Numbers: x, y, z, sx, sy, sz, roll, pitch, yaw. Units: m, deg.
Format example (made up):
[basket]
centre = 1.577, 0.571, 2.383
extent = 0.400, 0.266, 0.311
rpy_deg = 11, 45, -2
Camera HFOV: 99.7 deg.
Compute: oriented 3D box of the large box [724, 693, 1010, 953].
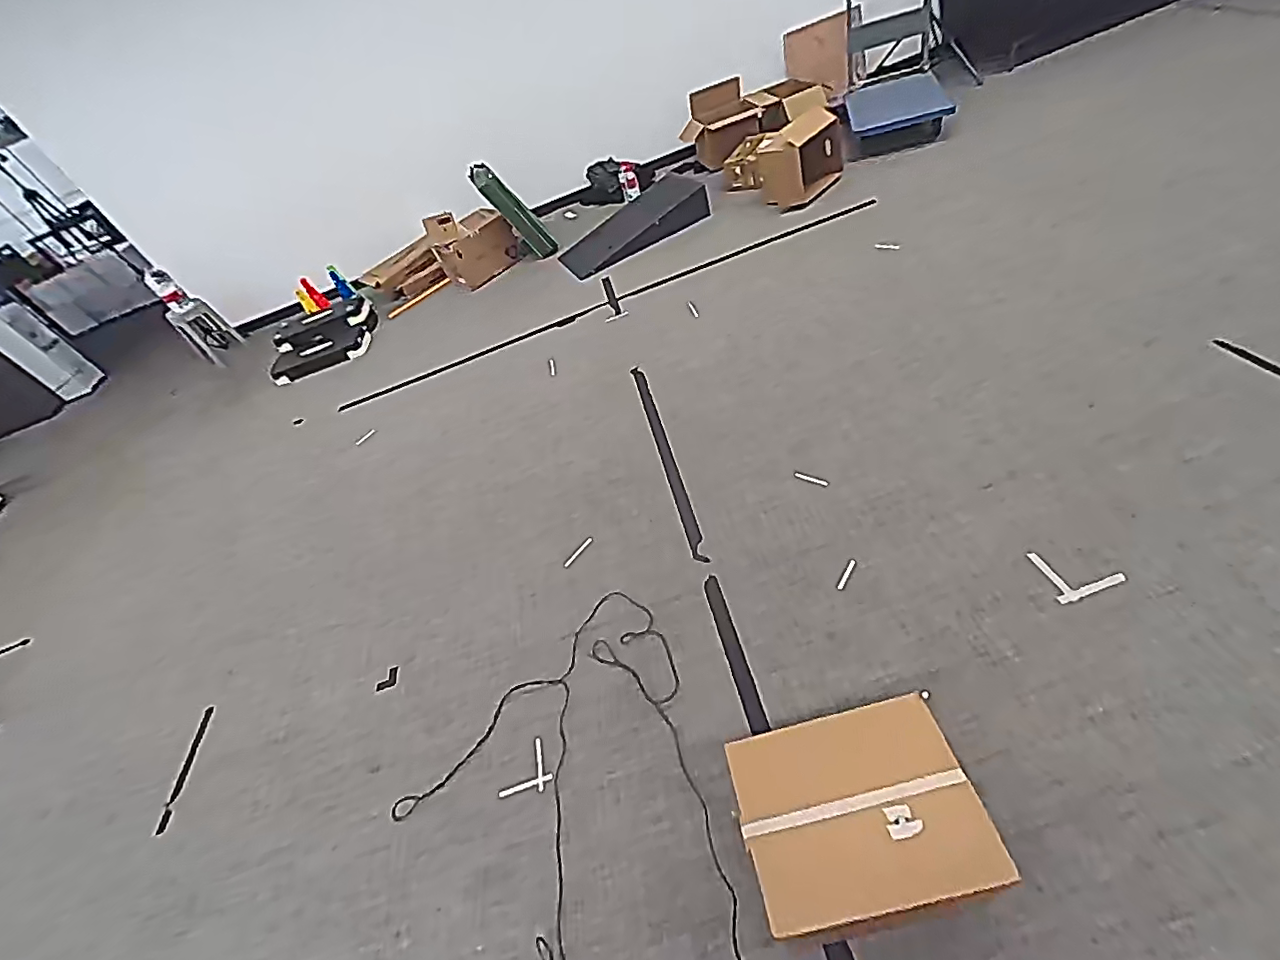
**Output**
[large box]
centre = 0.421, 0.689, 1.083
extent = 0.408, 0.320, 0.320
rpy_deg = -18, 44, 4
